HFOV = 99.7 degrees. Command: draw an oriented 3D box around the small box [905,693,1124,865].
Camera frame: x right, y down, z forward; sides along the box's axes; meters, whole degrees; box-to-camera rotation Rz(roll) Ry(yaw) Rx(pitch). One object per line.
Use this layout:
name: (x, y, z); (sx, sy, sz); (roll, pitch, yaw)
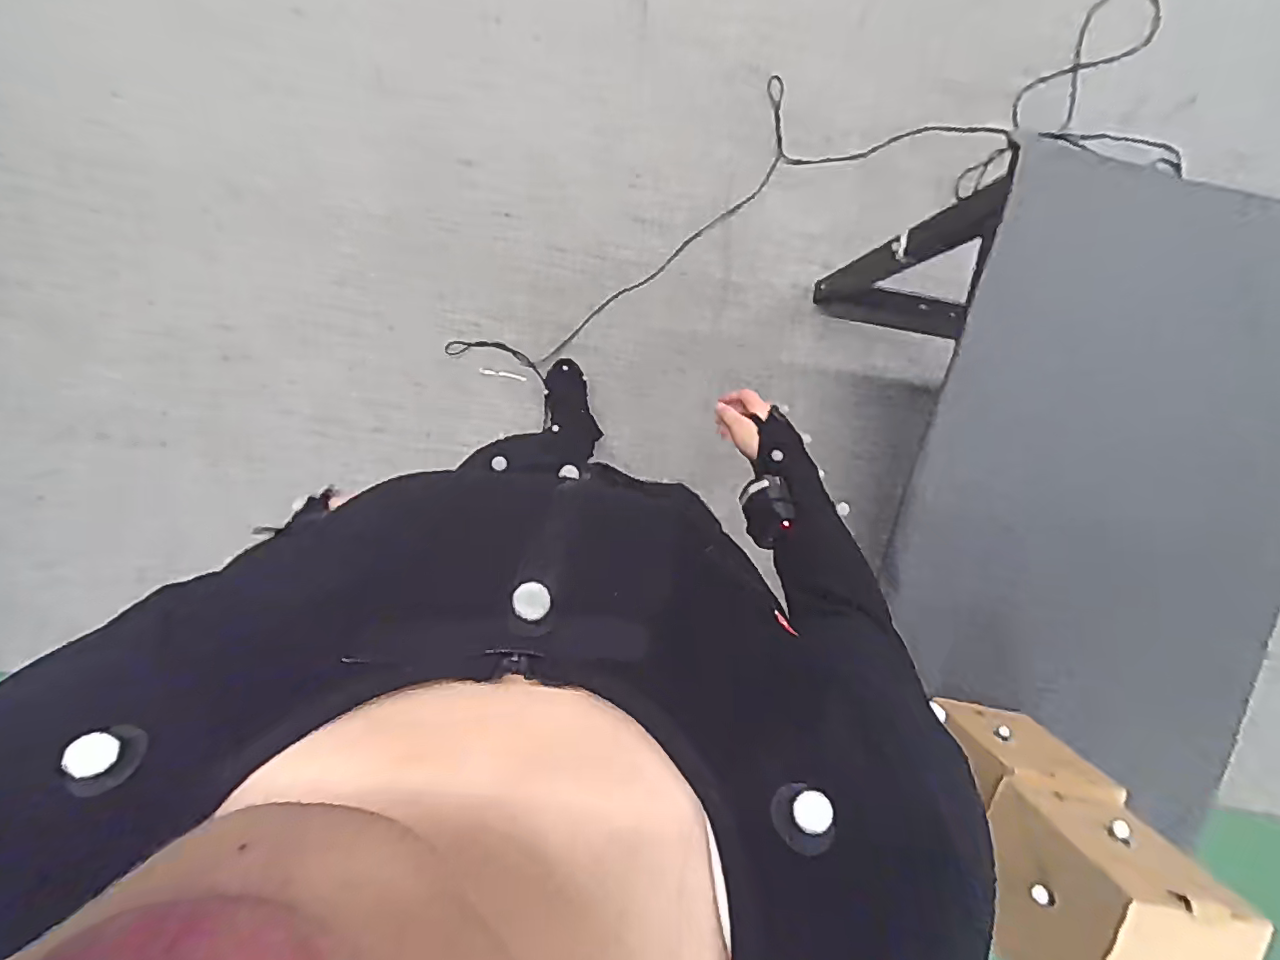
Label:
small box: (0.509, 0.430, 0.764); (0.168, 0.176, 0.179); (13, 98, -6)

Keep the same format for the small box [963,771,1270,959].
small box: (0.504, 0.464, 0.602); (0.168, 0.176, 0.179); (16, 97, -7)
